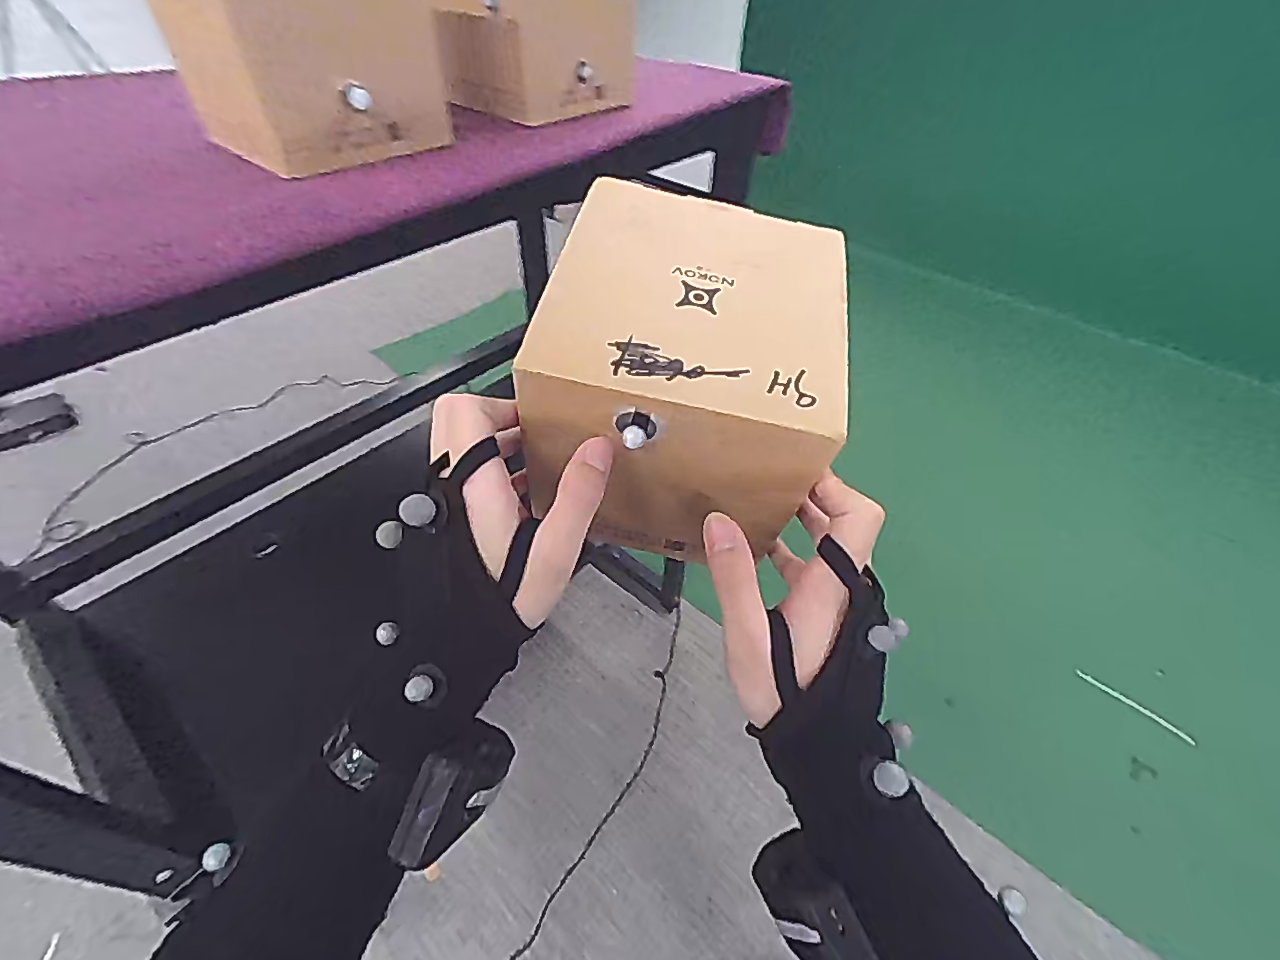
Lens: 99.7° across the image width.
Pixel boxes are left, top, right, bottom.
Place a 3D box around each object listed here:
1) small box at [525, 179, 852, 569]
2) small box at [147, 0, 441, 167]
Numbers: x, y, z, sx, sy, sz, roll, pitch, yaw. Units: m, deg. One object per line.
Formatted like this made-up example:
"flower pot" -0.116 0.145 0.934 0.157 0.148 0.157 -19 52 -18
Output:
"small box" 0.030 -0.065 0.371 0.168 0.176 0.179 13 56 2
"small box" -0.307 -0.395 0.477 0.179 0.176 0.168 33 53 26
